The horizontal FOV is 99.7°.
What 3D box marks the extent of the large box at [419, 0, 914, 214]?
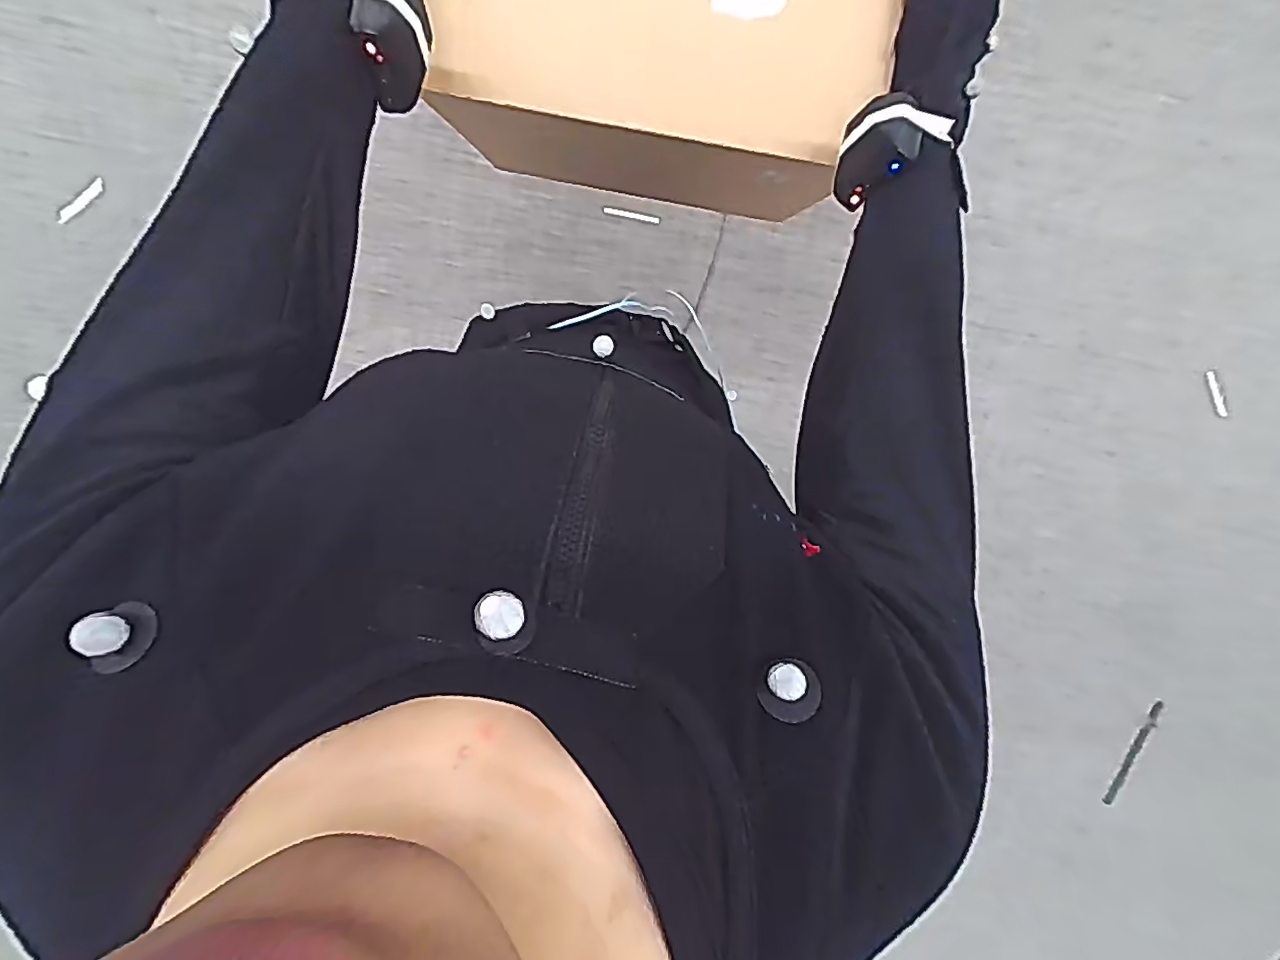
[{"bbox_3d":[0.030,-0.495,0.558,0.408,0.320,0.320,9,109,-4],"label":"large box"}]
